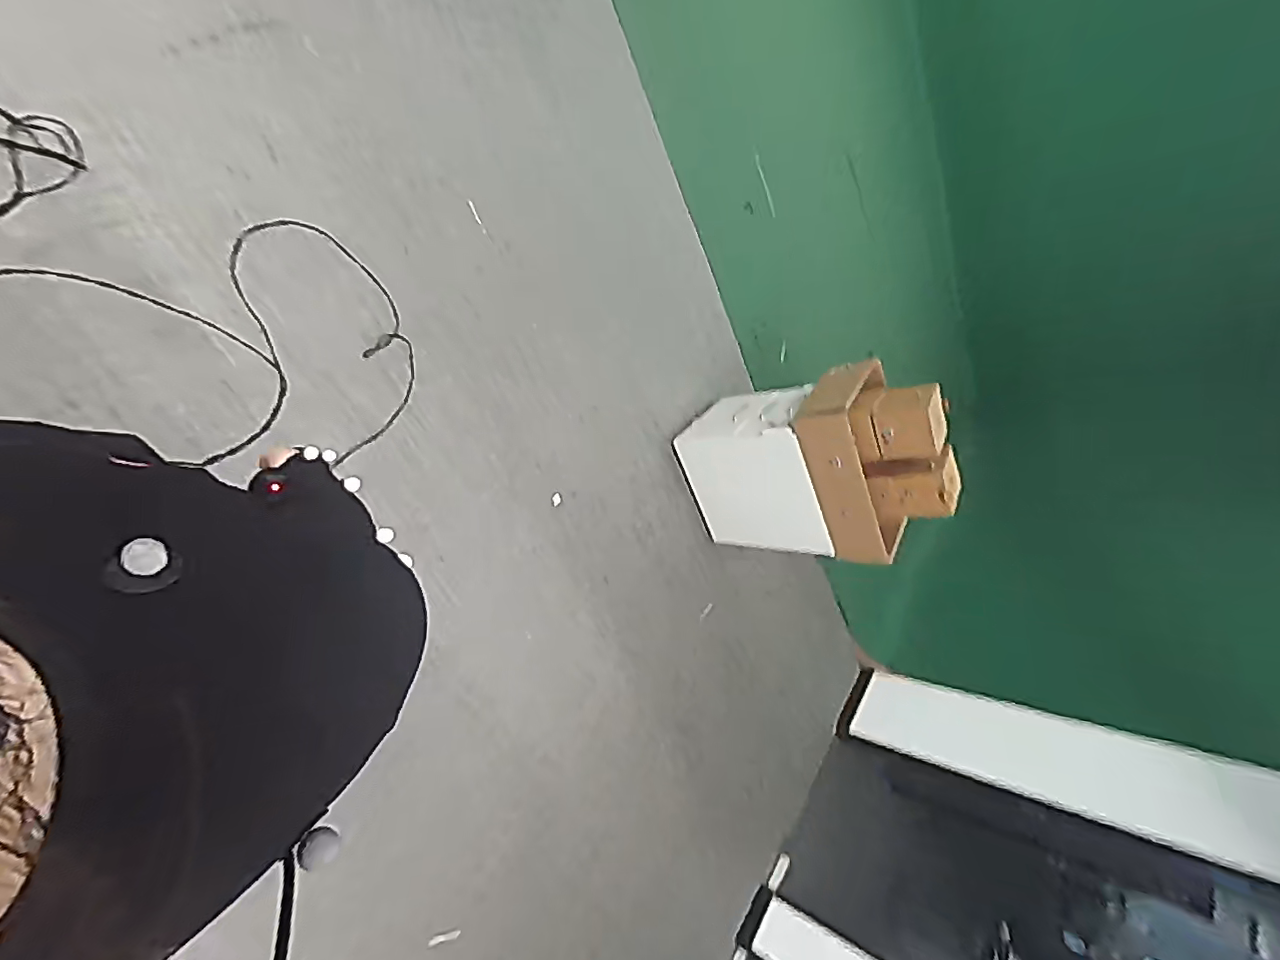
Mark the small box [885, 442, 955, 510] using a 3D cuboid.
[{"bbox_3d":[0.953,-0.011,1.844,0.179,0.176,0.168,-47,119,-38],"label":"small box"}]

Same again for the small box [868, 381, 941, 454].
[{"bbox_3d":[0.855,-0.200,1.746,0.179,0.176,0.168,-47,120,-39],"label":"small box"}]

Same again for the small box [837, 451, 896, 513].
[{"bbox_3d":[0.833,0.004,1.953,0.179,0.176,0.168,-47,118,-41],"label":"small box"}]
